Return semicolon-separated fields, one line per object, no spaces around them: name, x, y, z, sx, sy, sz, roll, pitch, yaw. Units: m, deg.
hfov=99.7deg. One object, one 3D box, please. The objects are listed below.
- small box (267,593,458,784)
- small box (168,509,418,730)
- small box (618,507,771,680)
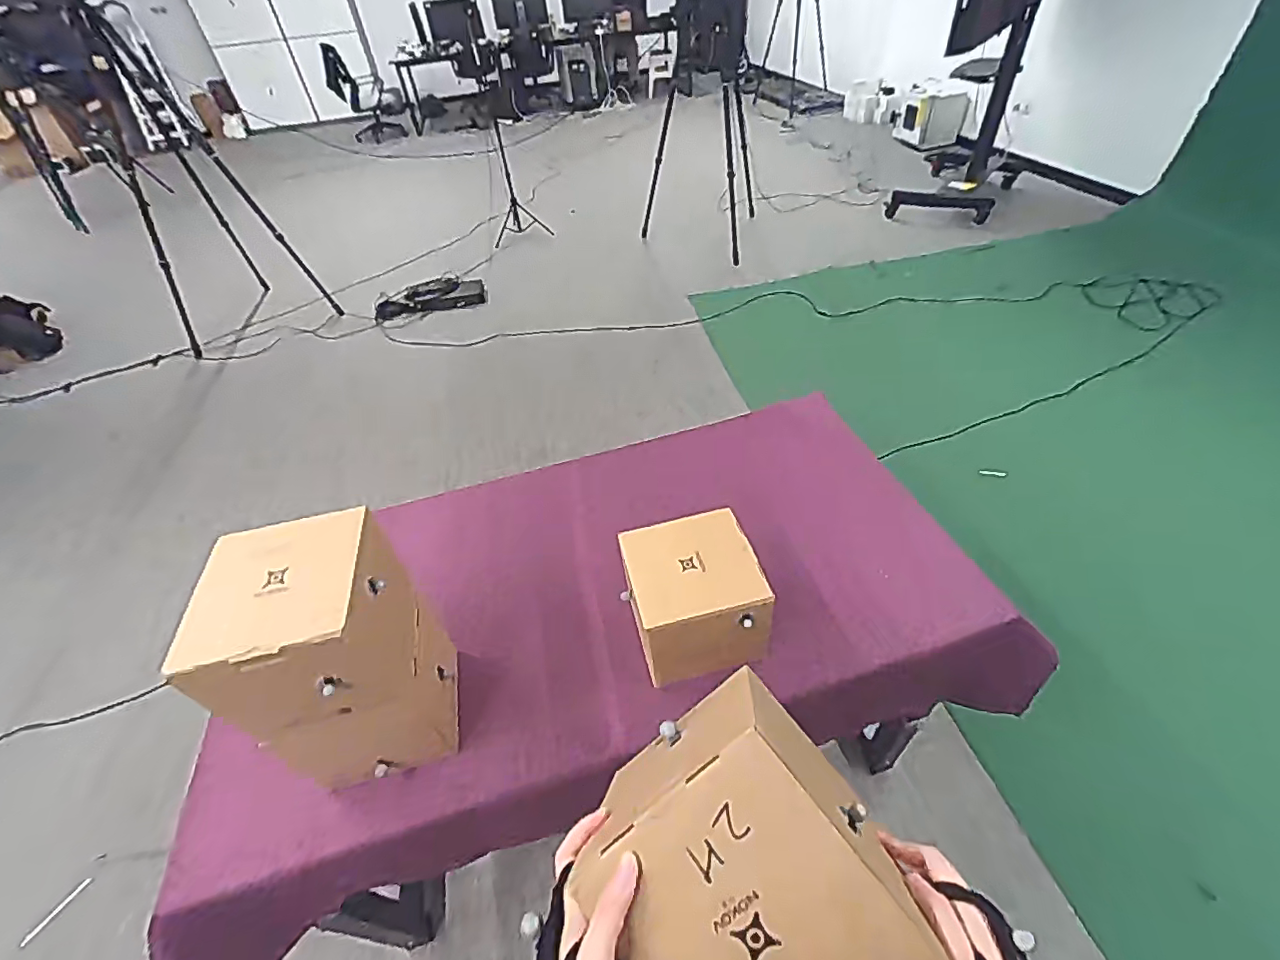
small box;-0.356;0.284;0.737;0.179;0.176;0.168;-14;46;-7
small box;-0.372;0.165;0.624;0.168;0.176;0.179;-13;44;-6
small box;0.077;0.170;0.795;0.179;0.176;0.168;-13;45;-6
